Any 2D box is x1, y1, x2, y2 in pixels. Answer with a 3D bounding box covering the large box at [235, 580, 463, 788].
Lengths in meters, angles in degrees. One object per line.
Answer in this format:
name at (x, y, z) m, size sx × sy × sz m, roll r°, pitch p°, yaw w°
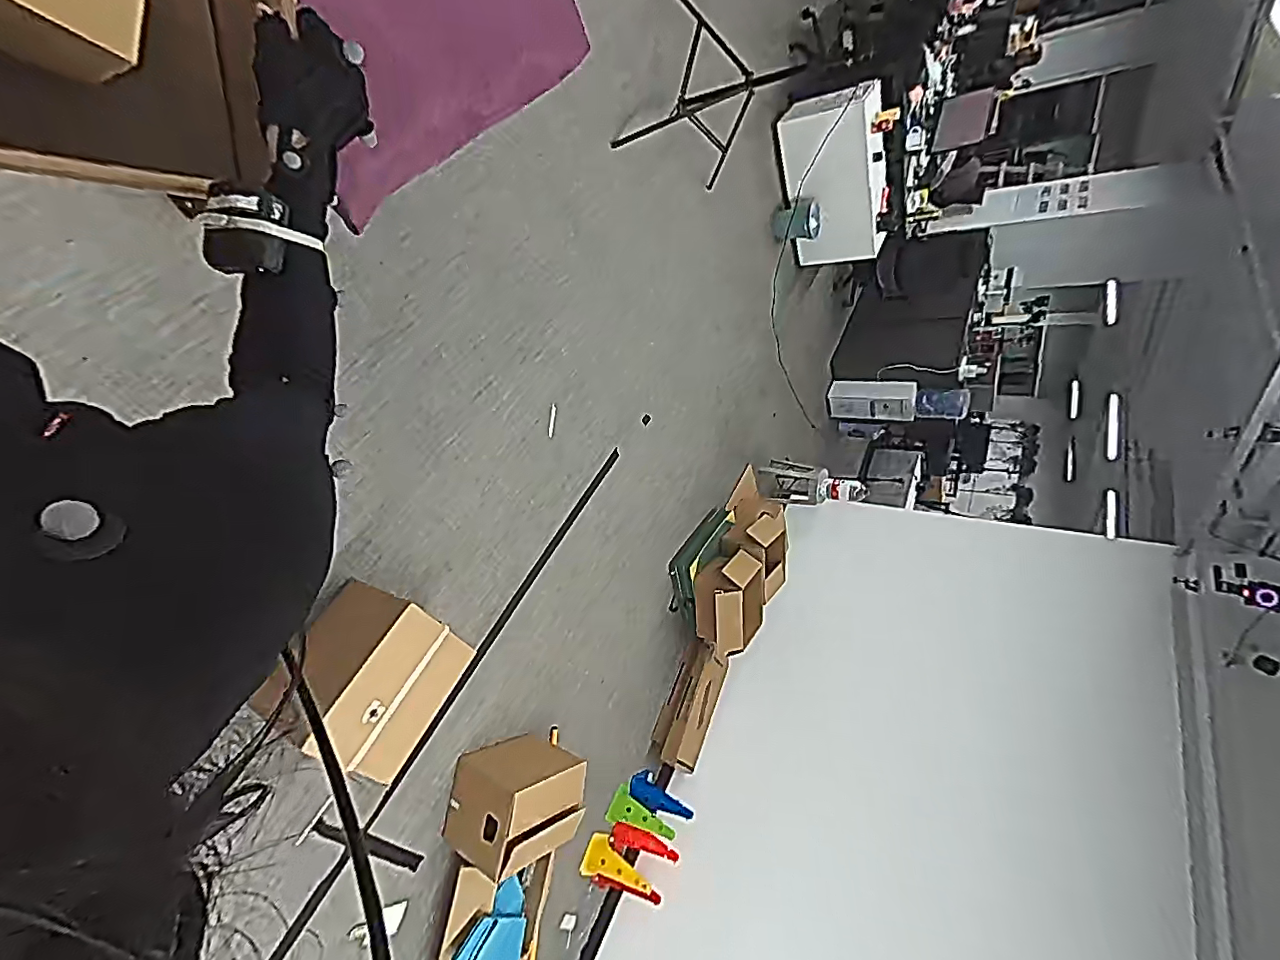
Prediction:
large box at (-0.788, 0.550, 1.506) m, size 0.408 × 0.320 × 0.320 m, roll -59°, pitch 140°, yaw -29°
